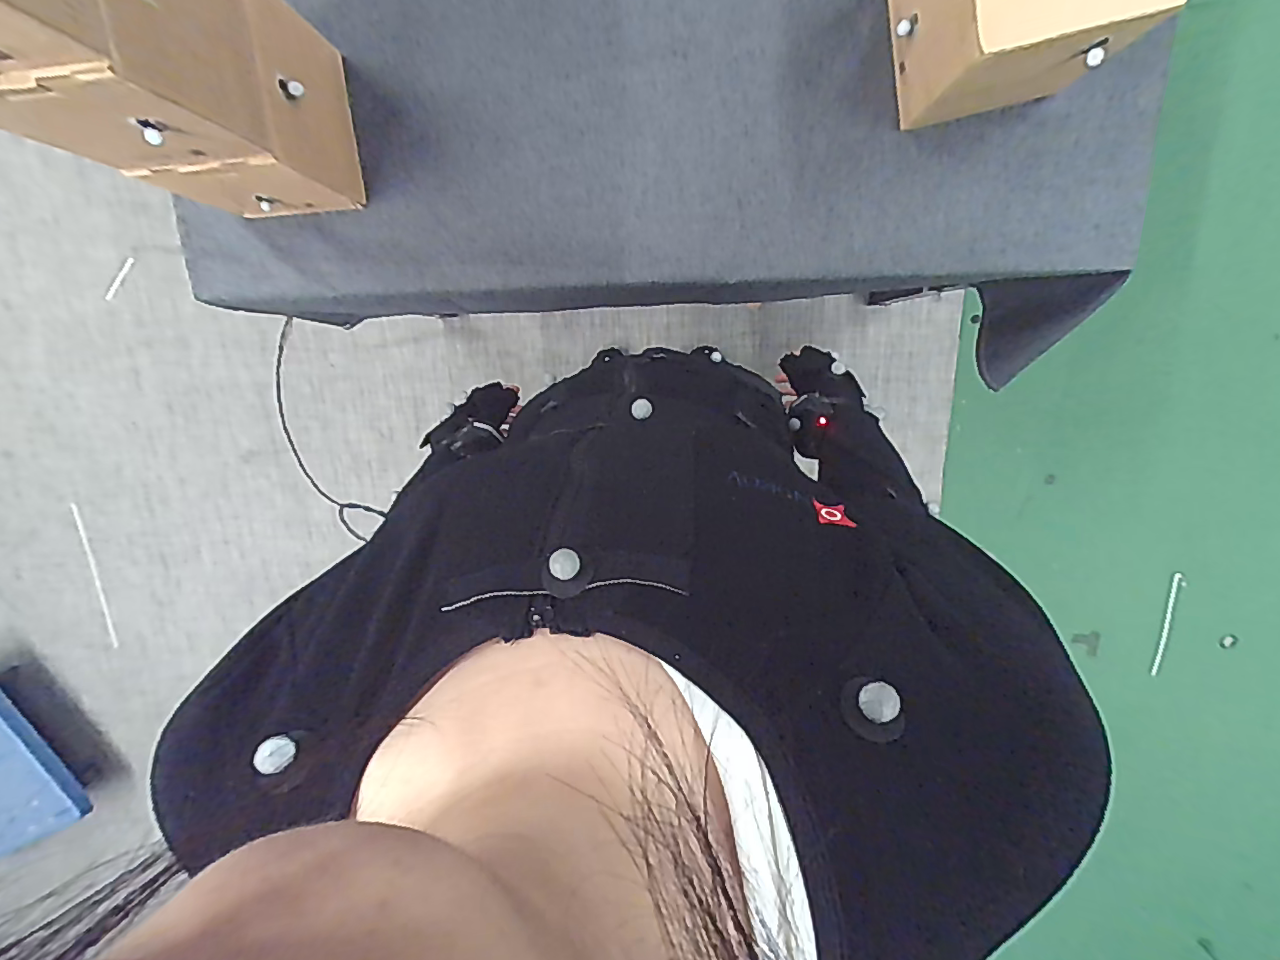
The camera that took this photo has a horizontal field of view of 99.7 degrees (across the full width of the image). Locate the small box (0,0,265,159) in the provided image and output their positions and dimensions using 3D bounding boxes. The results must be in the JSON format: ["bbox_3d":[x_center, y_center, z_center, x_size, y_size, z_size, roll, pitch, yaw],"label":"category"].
[{"bbox_3d":[-0.445,-0.377,0.434,0.168,0.176,0.179,-3,103,2],"label":"small box"}]

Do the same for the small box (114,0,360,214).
[{"bbox_3d":[-0.440,-0.411,0.593,0.168,0.176,0.179,-3,104,3],"label":"small box"}]

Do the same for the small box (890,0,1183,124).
[{"bbox_3d":[0.370,-0.487,0.531,0.179,0.176,0.168,-11,102,6],"label":"small box"}]

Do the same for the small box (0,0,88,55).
[{"bbox_3d":[-0.451,-0.347,0.273,0.168,0.176,0.179,-4,103,2],"label":"small box"}]
